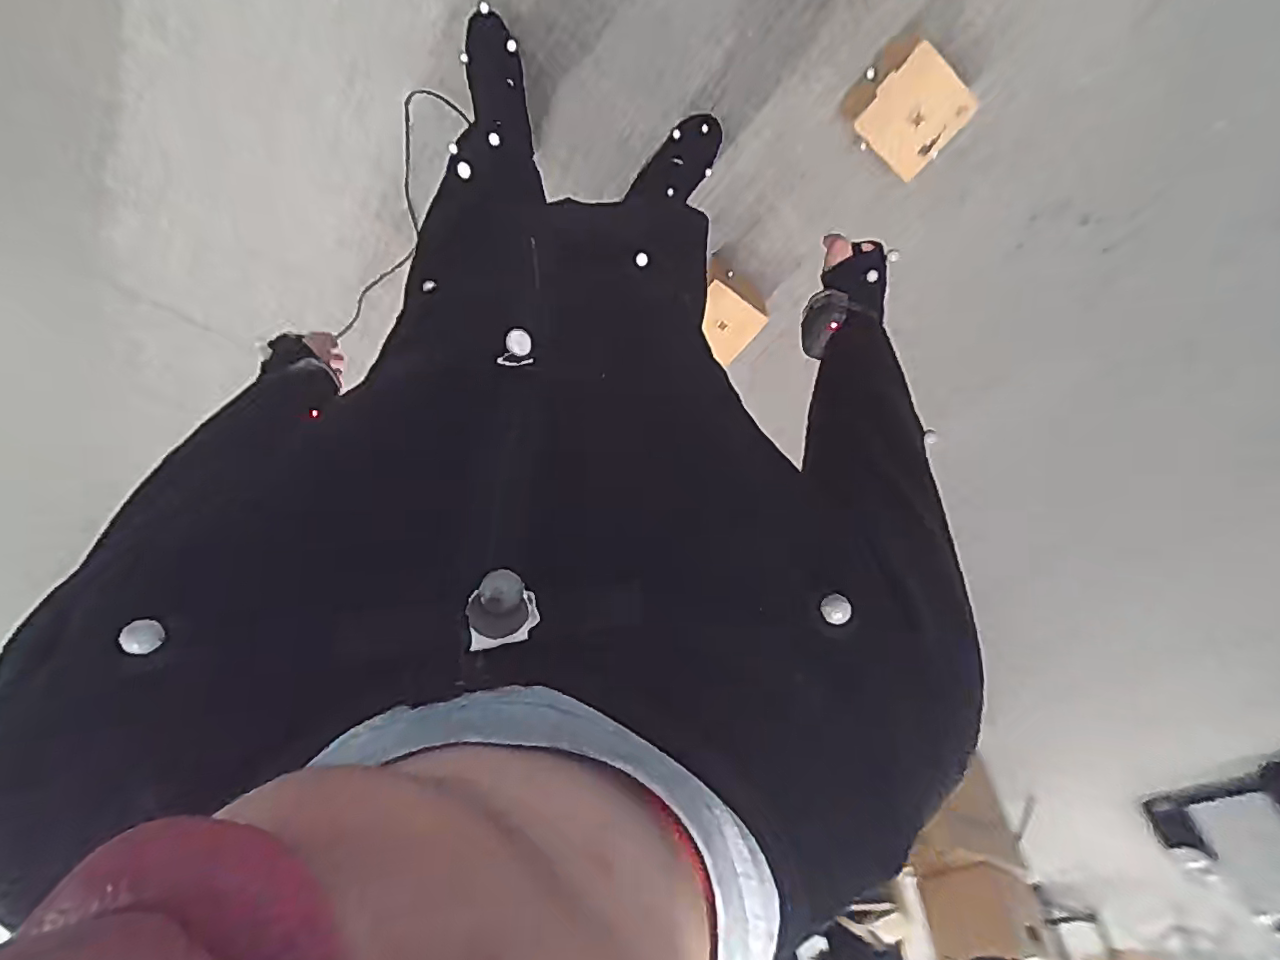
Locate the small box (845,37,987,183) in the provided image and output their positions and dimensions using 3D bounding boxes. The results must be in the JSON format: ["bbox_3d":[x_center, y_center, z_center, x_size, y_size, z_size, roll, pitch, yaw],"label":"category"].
[{"bbox_3d":[0.542,-0.742,1.087,0.179,0.176,0.168,31,127,-20],"label":"small box"}]

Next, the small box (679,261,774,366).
[{"bbox_3d":[0.216,-0.434,1.390,0.179,0.176,0.168,29,129,-20],"label":"small box"}]
